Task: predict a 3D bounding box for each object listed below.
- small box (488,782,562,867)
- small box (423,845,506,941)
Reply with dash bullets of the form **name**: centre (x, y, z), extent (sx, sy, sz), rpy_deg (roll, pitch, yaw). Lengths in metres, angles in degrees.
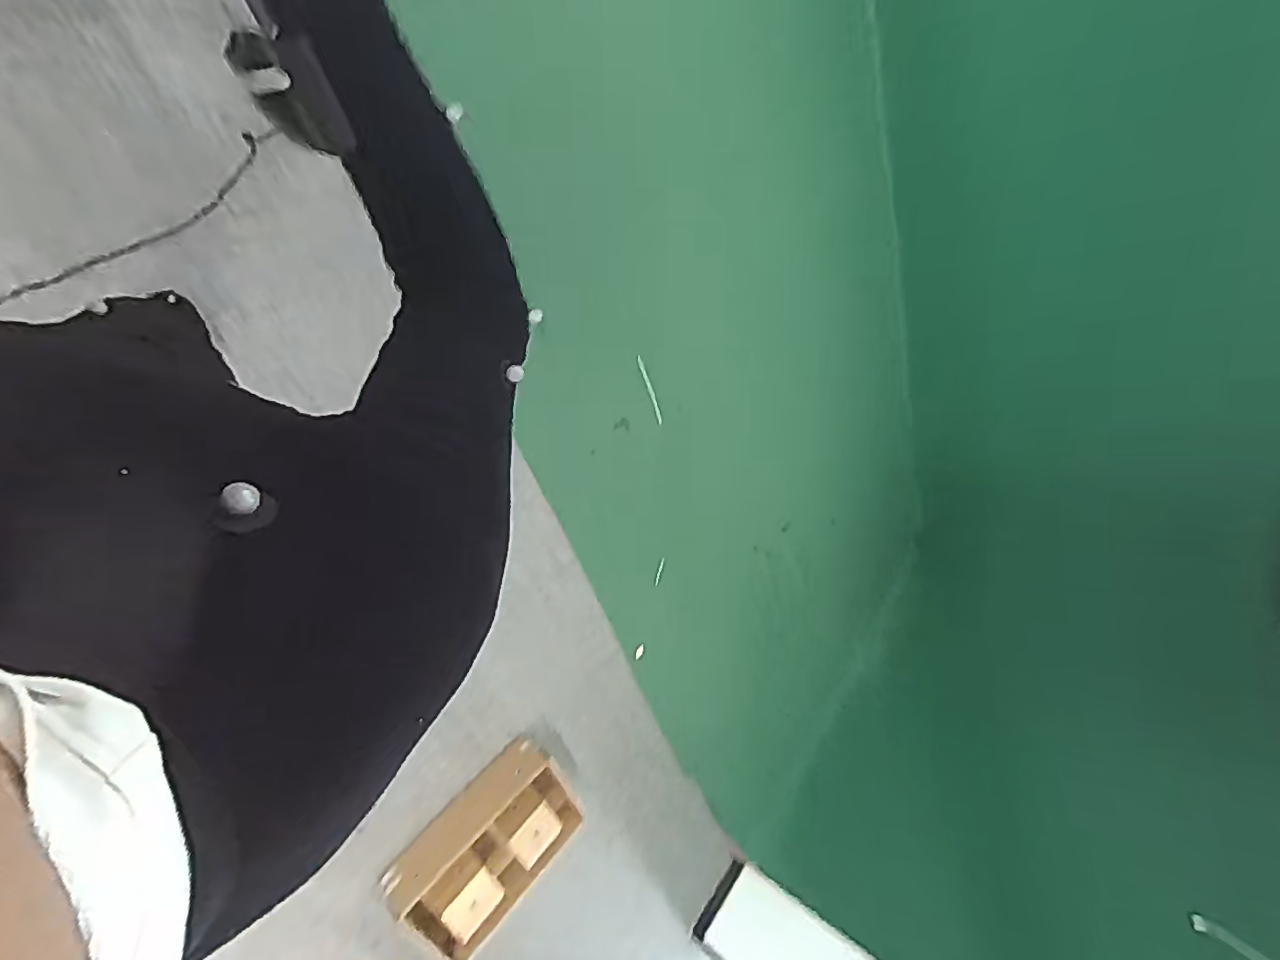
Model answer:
- **small box**: centre (-0.419, 1.233, 1.952), extent (0.168, 0.176, 0.179), rpy_deg (-40, 123, -31)
- **small box**: centre (-0.592, 1.373, 1.813), extent (0.168, 0.176, 0.179), rpy_deg (-41, 123, -32)
